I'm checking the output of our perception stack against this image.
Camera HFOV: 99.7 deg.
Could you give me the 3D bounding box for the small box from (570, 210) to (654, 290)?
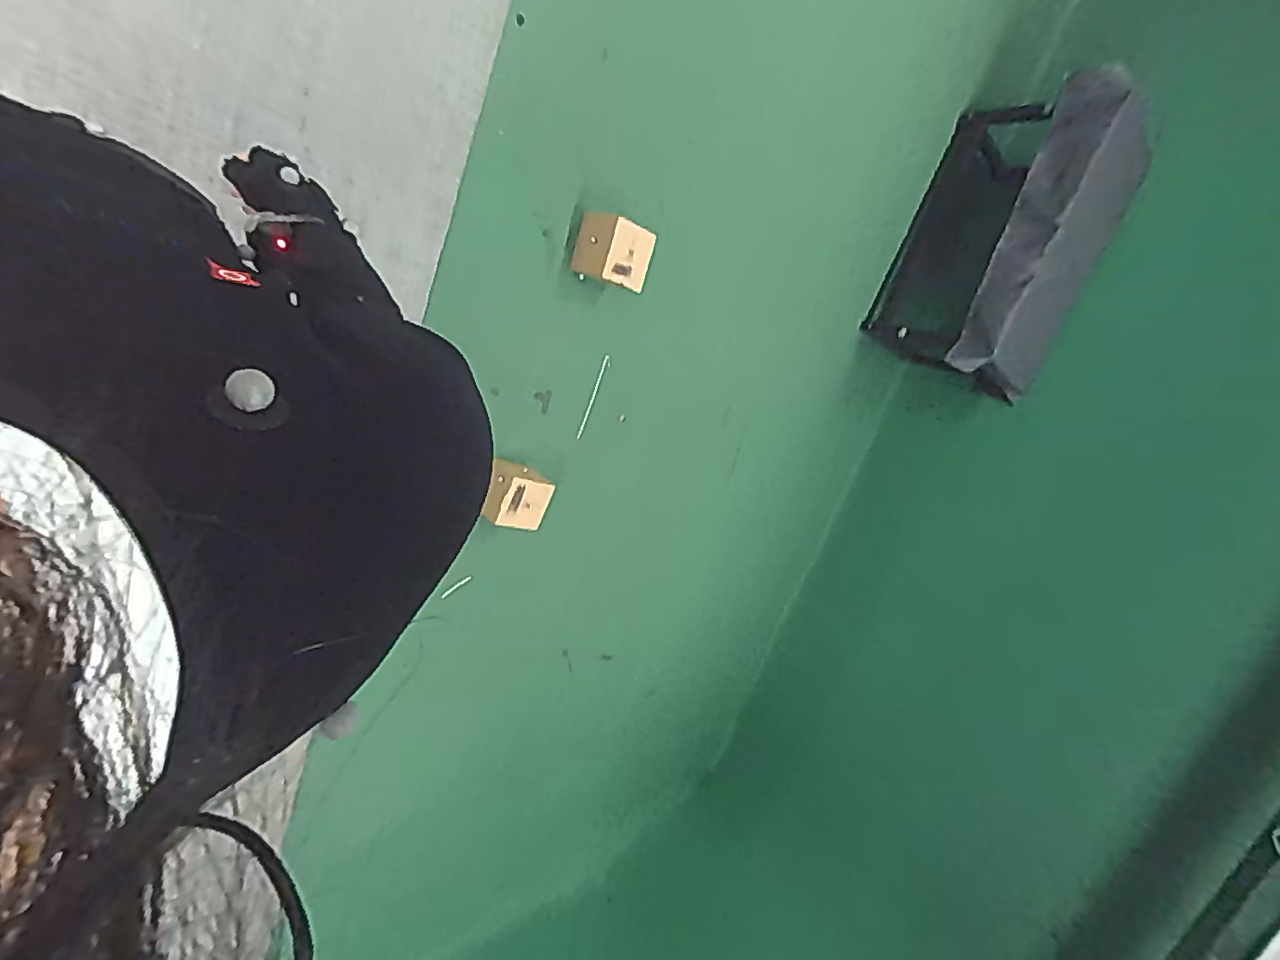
[{"bbox_3d":[-0.091,-0.706,1.659,0.168,0.176,0.179,3,110,-47],"label":"small box"}]
